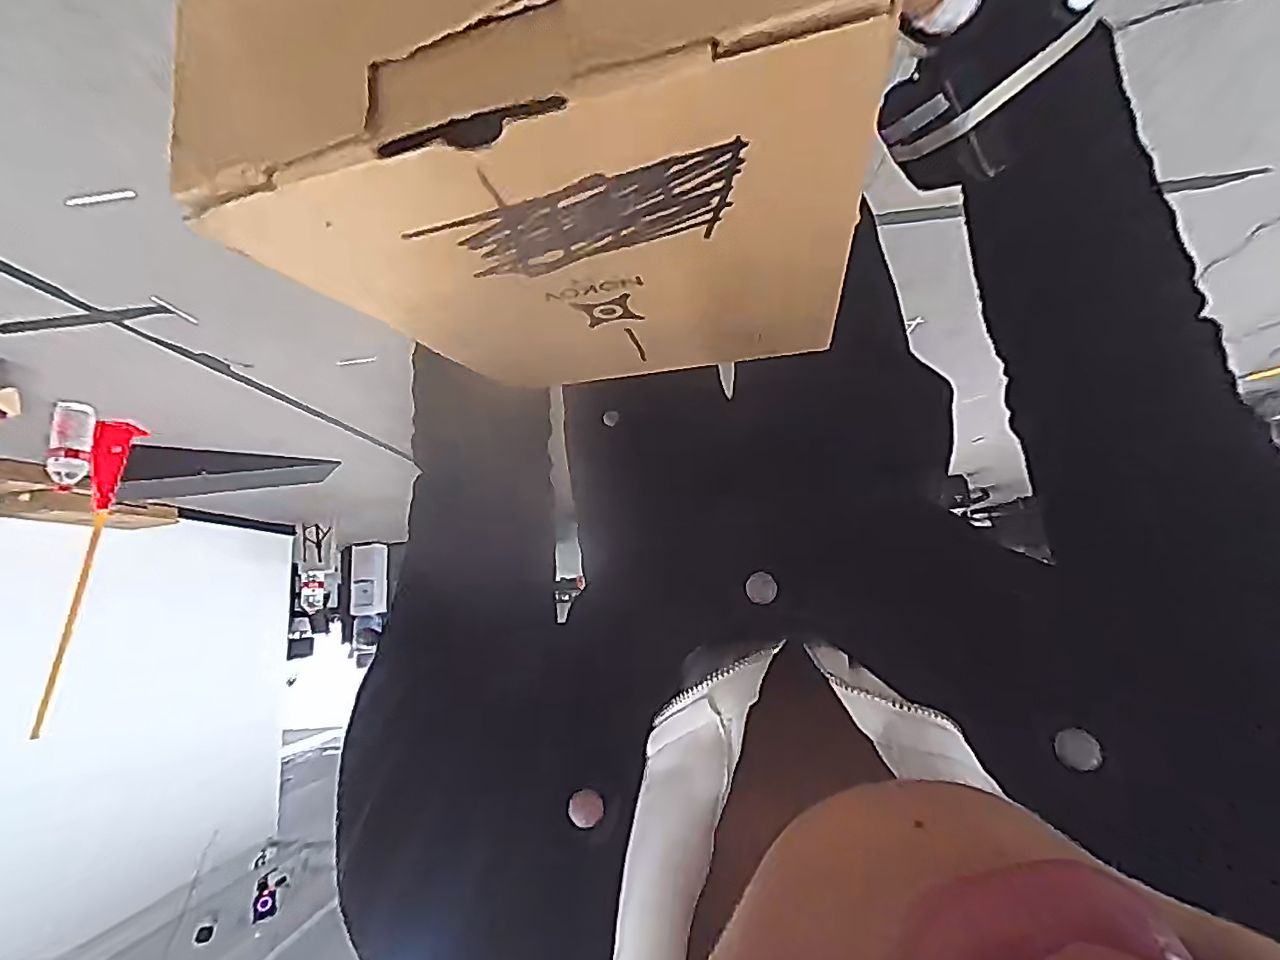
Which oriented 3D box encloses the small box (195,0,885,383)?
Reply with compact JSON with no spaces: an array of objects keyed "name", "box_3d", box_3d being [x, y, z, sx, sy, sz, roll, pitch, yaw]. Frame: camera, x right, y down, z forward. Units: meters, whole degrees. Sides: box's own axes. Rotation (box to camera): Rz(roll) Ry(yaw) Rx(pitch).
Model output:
[{"name":"small box","box_3d":[-0.018,-0.150,0.205,0.168,0.176,0.179,-5,174,15]}]
